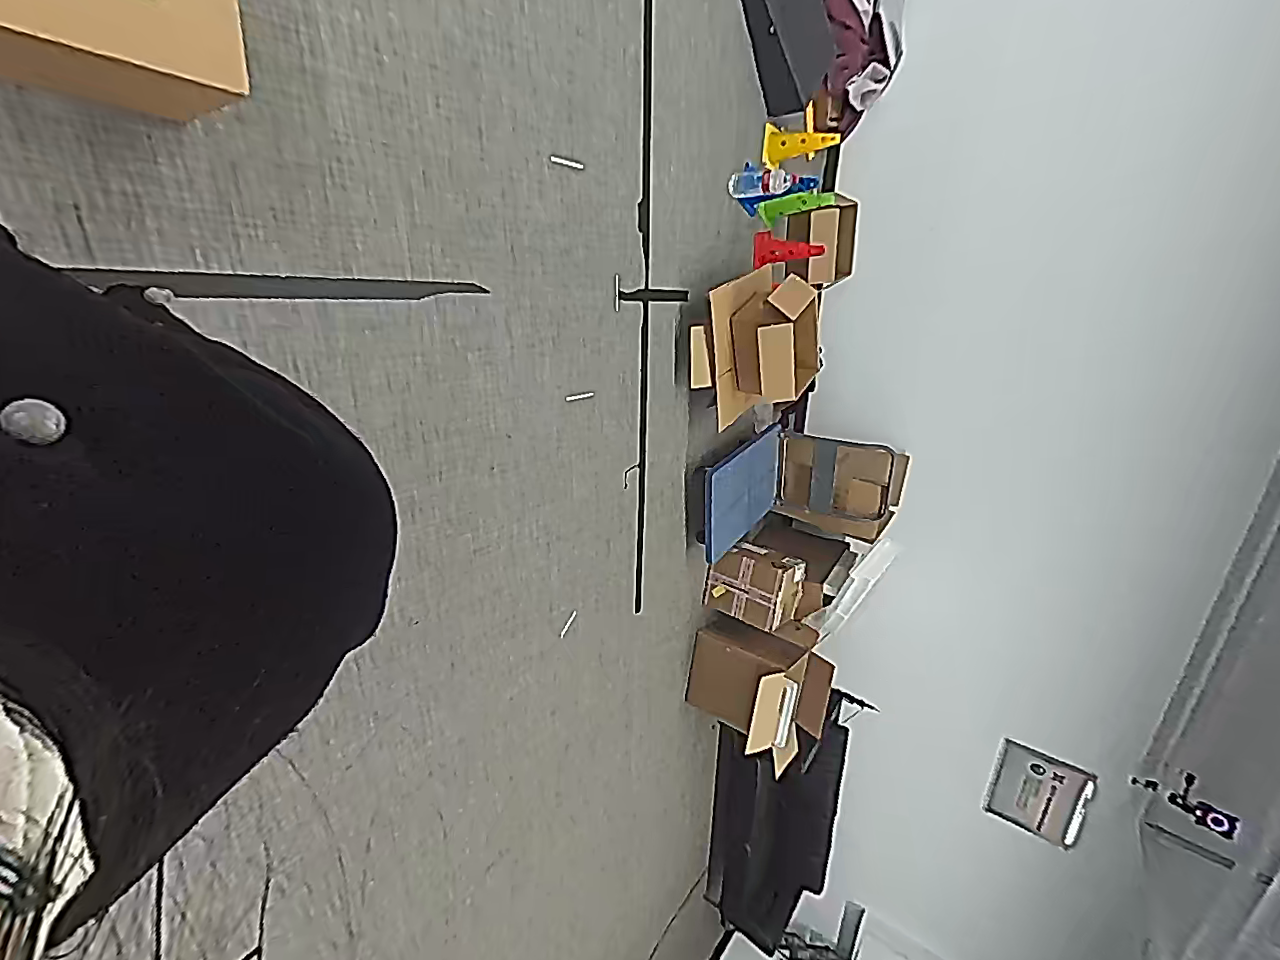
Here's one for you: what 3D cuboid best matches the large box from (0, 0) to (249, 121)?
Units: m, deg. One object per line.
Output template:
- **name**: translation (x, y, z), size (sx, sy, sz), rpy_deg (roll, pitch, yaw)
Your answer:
- **large box**: translation (-0.884, -0.772, 0.785), size (0.408, 0.320, 0.320), rpy_deg (-20, 119, -51)
